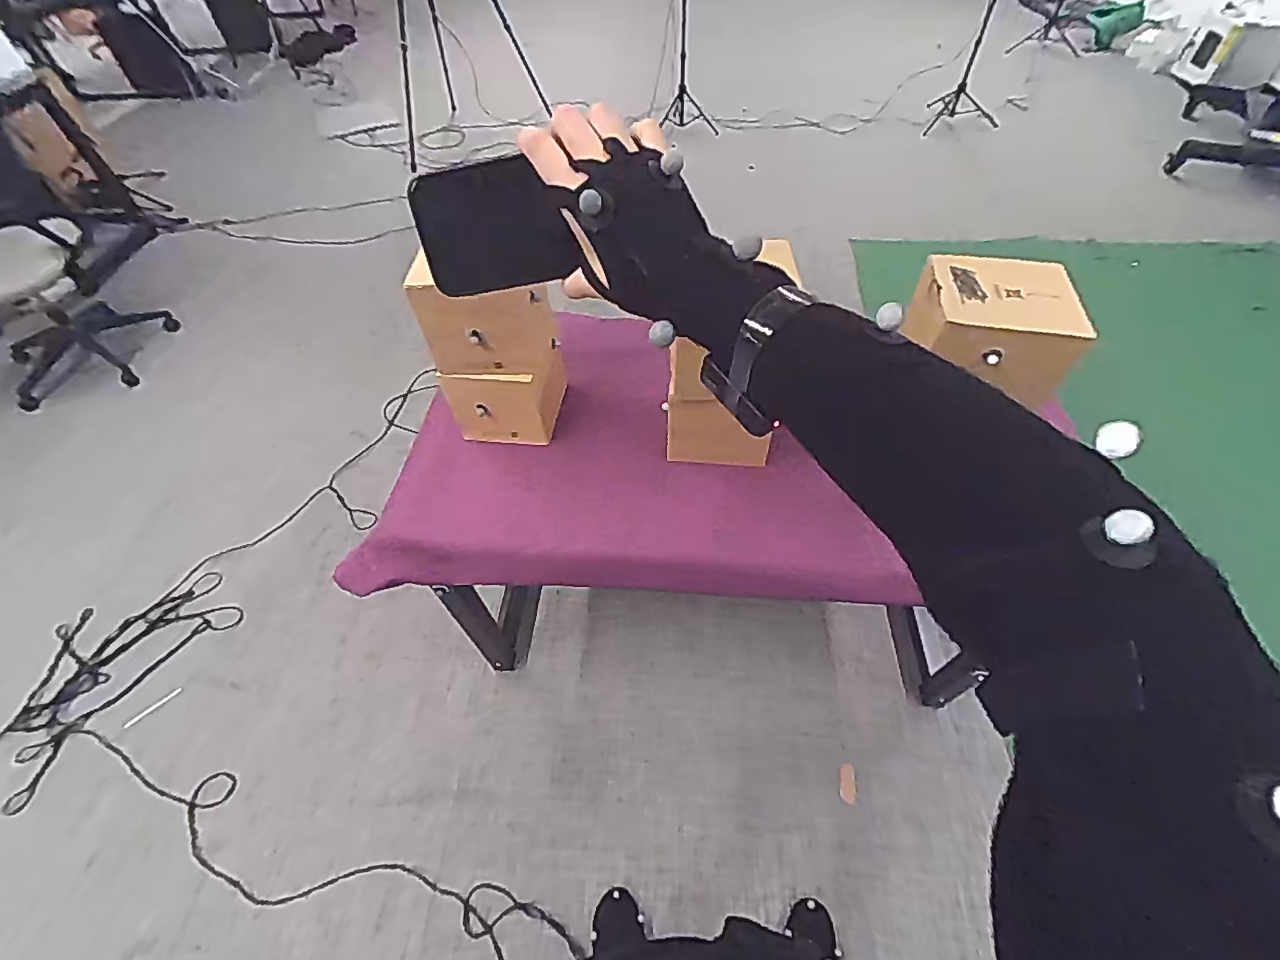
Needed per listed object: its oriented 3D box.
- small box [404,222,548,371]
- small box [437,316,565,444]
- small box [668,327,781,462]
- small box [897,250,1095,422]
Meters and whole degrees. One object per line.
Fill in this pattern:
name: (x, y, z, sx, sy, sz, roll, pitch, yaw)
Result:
small box: (-0.250, -0.291, 0.875, 0.168, 0.176, 0.179, 0, 53, 2)
small box: (-0.243, -0.184, 1.000, 0.168, 0.176, 0.179, 4, 52, 6)
small box: (0.143, -0.146, 0.947, 0.179, 0.176, 0.168, 3, 52, 6)
small box: (0.479, -0.202, 0.767, 0.179, 0.176, 0.168, 8, 53, 9)
